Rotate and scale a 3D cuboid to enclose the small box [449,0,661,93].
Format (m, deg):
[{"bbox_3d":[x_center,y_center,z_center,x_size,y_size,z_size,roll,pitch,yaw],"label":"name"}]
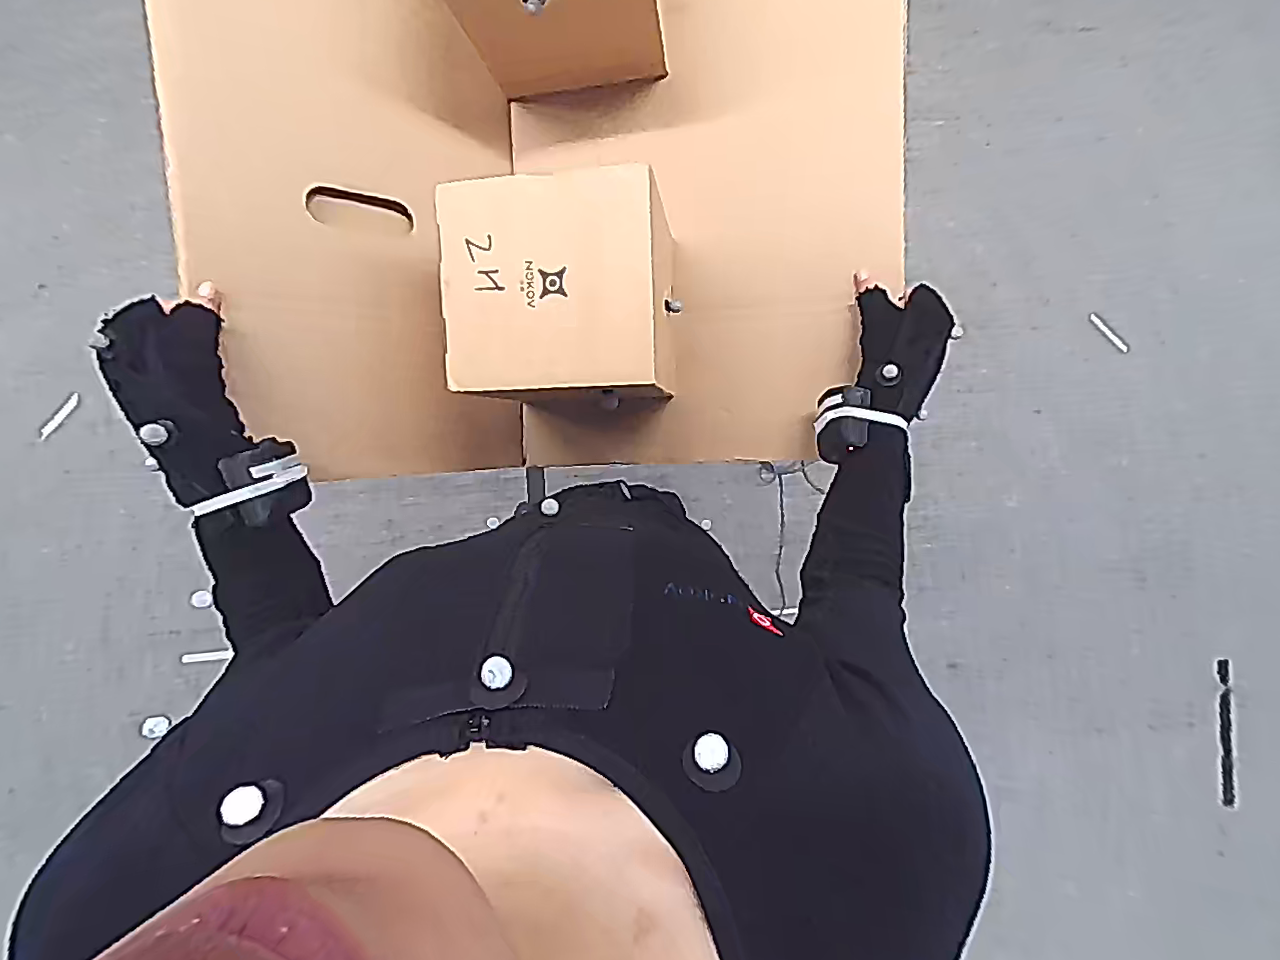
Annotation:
[{"bbox_3d":[-0.080,-0.485,0.484,0.179,0.176,0.168,-2,95,9],"label":"small box"}]
